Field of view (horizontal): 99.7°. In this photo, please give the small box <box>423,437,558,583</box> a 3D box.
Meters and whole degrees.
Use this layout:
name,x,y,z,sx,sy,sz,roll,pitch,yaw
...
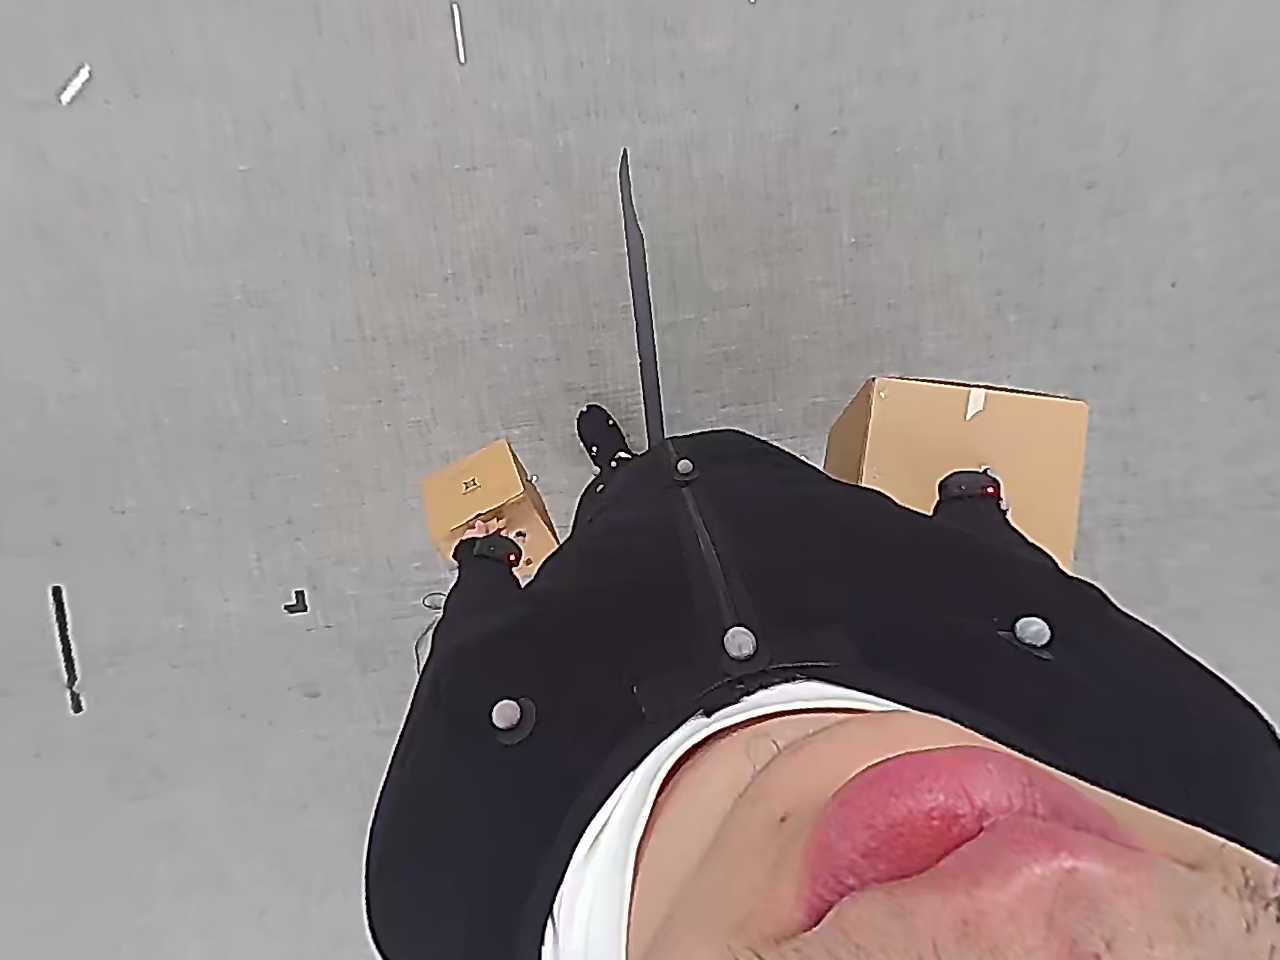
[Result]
name,x,y,z,sx,sy,sz,roll,pitch,yaw
small box,-0.267,0.061,0.977,0.168,0.179,0.176,-27,133,-7
